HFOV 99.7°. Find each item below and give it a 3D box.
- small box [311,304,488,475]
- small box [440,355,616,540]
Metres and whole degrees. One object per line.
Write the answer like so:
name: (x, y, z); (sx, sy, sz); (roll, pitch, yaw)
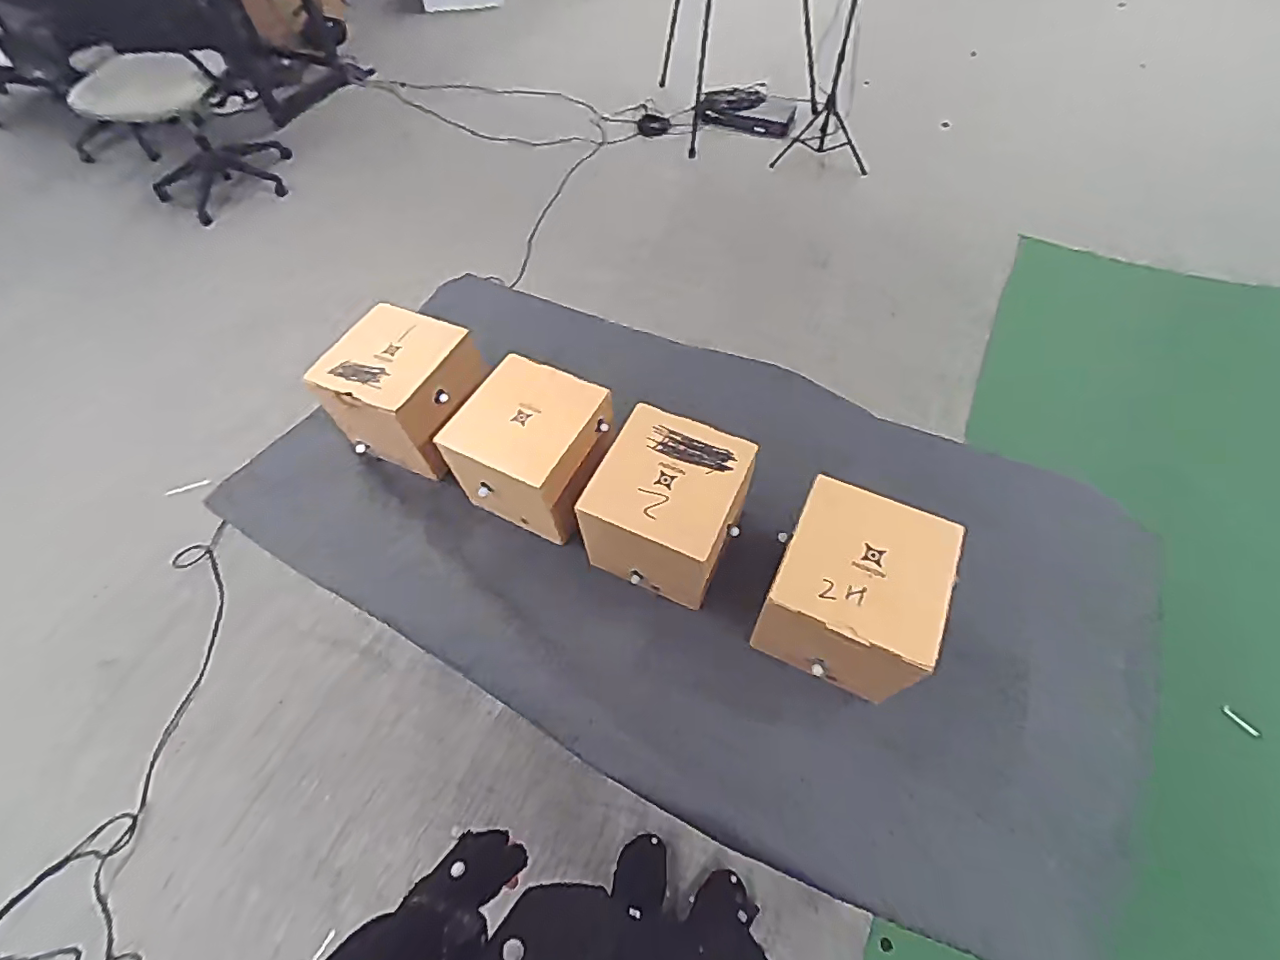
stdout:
small box: (-0.350, -0.136, 0.842); (0.168, 0.176, 0.179); (20, 60, 14)
small box: (-0.144, -0.041, 0.776); (0.168, 0.176, 0.179); (23, 61, 16)
